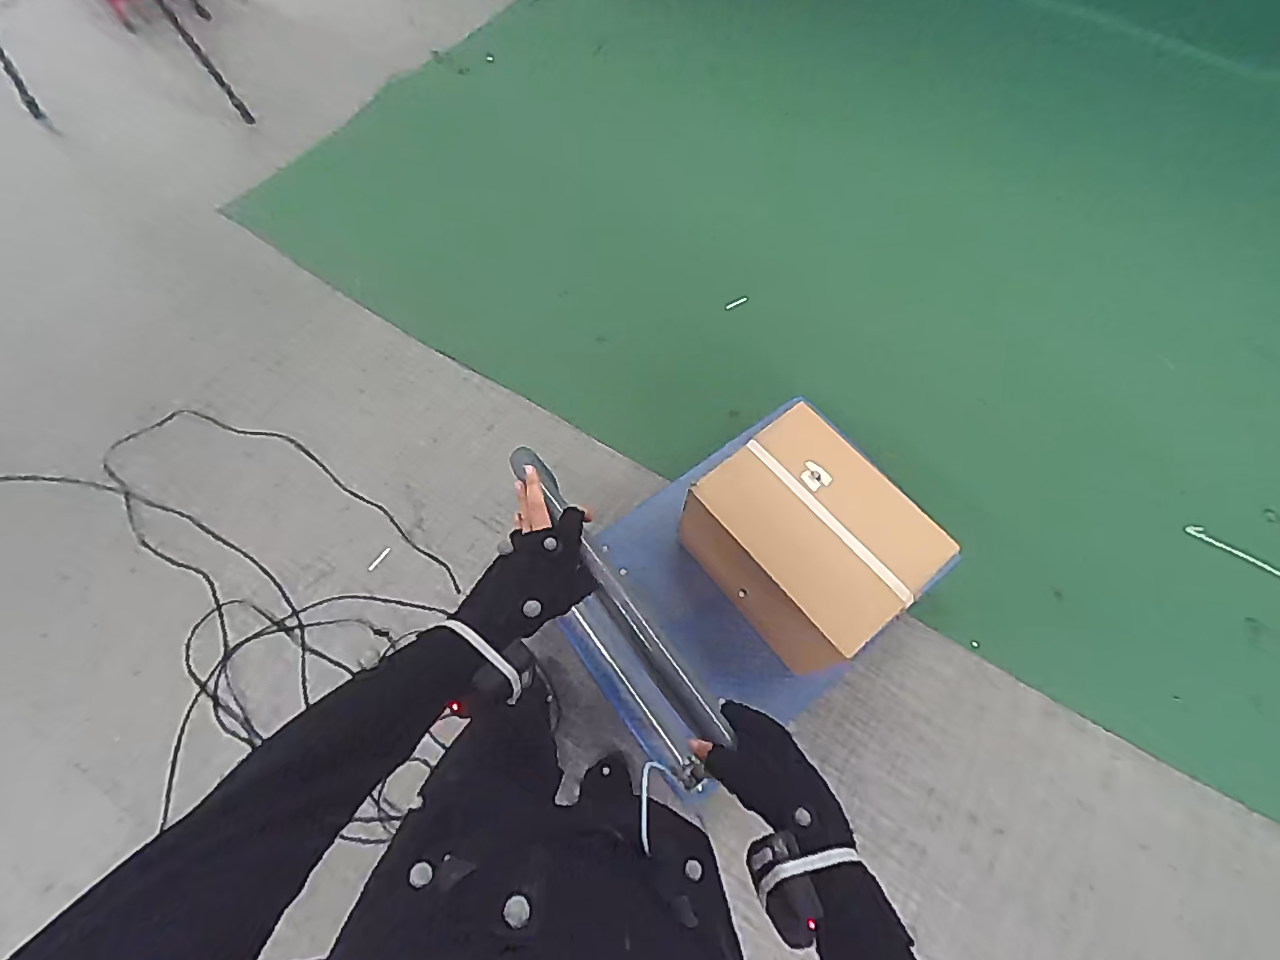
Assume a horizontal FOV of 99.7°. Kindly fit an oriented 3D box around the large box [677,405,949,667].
[{"bbox_3d":[0.330,0.130,1.149,0.320,0.320,0.408,-36,71,-17],"label":"large box"}]
